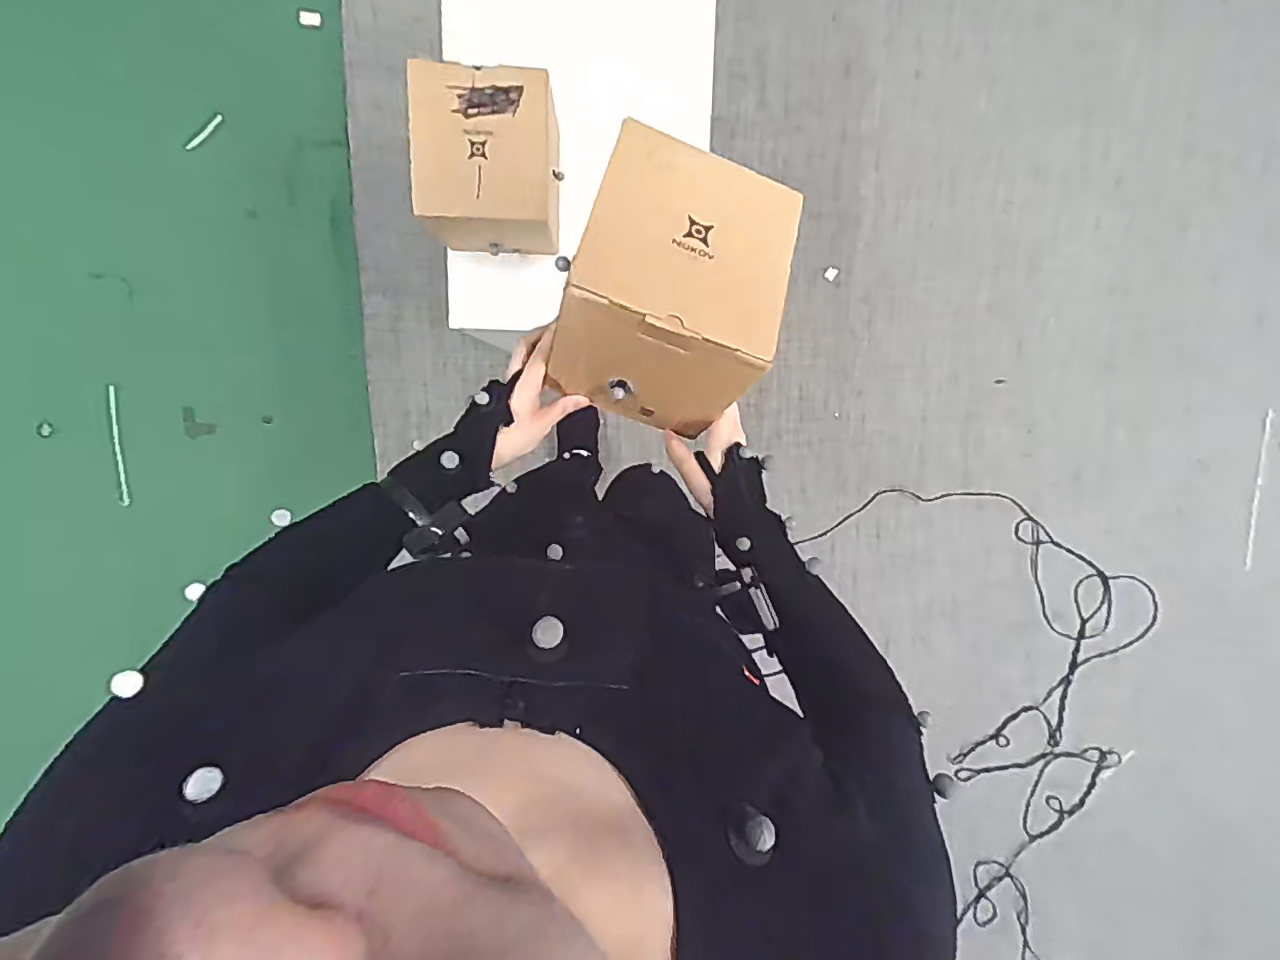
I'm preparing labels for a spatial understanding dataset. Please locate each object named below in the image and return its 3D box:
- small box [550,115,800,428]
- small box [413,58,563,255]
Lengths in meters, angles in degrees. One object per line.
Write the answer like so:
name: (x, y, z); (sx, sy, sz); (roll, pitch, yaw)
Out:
small box: (0.022, -0.174, 0.501); (0.168, 0.176, 0.179); (18, 71, -10)
small box: (-0.195, -0.420, 0.731); (0.168, 0.176, 0.179); (1, 100, -3)
